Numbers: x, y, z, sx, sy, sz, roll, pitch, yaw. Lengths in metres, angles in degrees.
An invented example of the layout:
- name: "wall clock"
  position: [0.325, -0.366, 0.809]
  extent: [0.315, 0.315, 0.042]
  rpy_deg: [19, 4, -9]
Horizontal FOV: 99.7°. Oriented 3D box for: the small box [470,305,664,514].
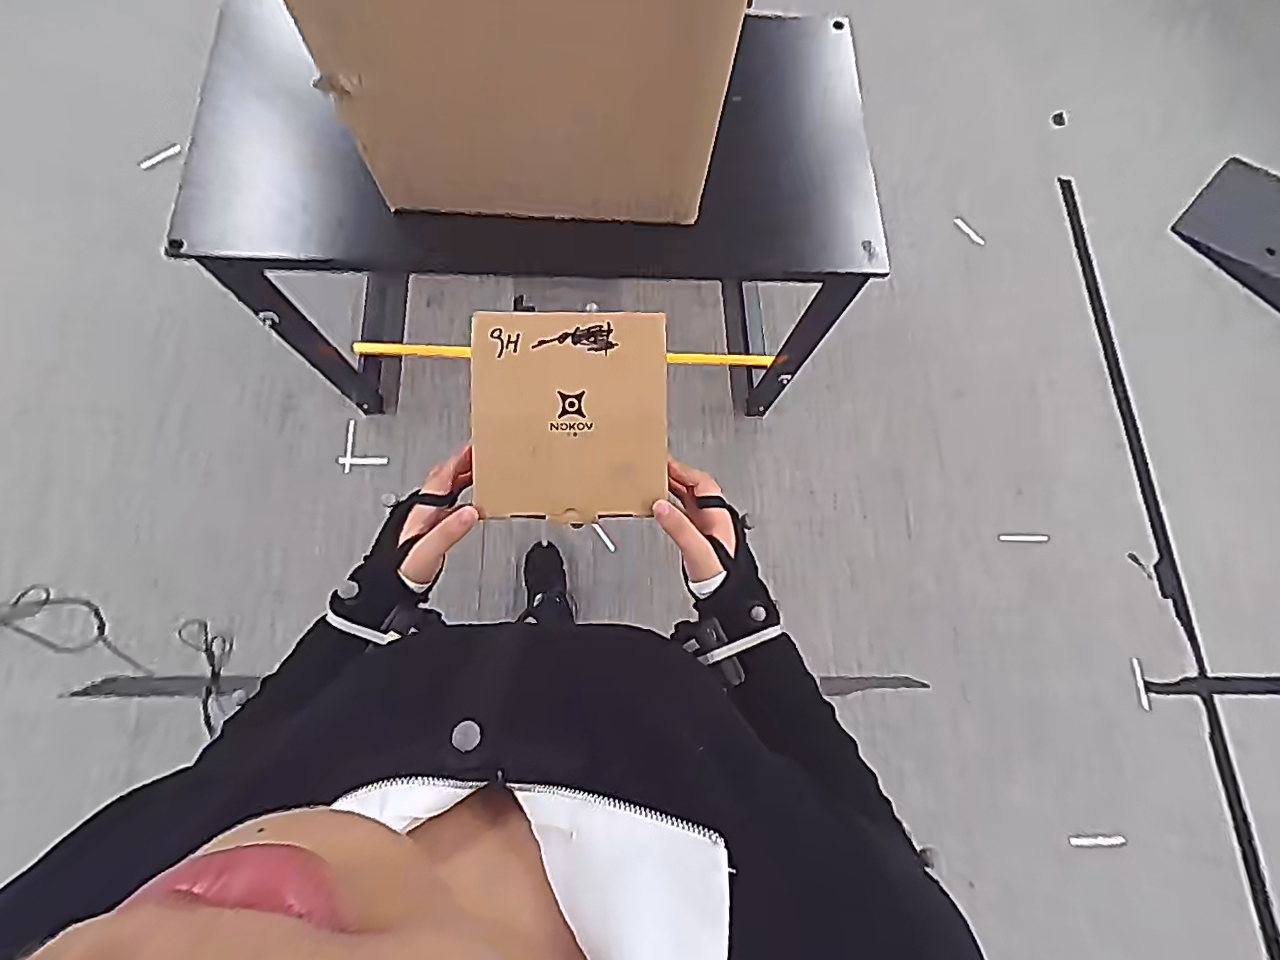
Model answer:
- name: "small box"
  position: [-0.065, -0.062, 0.537]
  extent: [0.168, 0.176, 0.179]
  rpy_deg: [-1, 91, -4]
